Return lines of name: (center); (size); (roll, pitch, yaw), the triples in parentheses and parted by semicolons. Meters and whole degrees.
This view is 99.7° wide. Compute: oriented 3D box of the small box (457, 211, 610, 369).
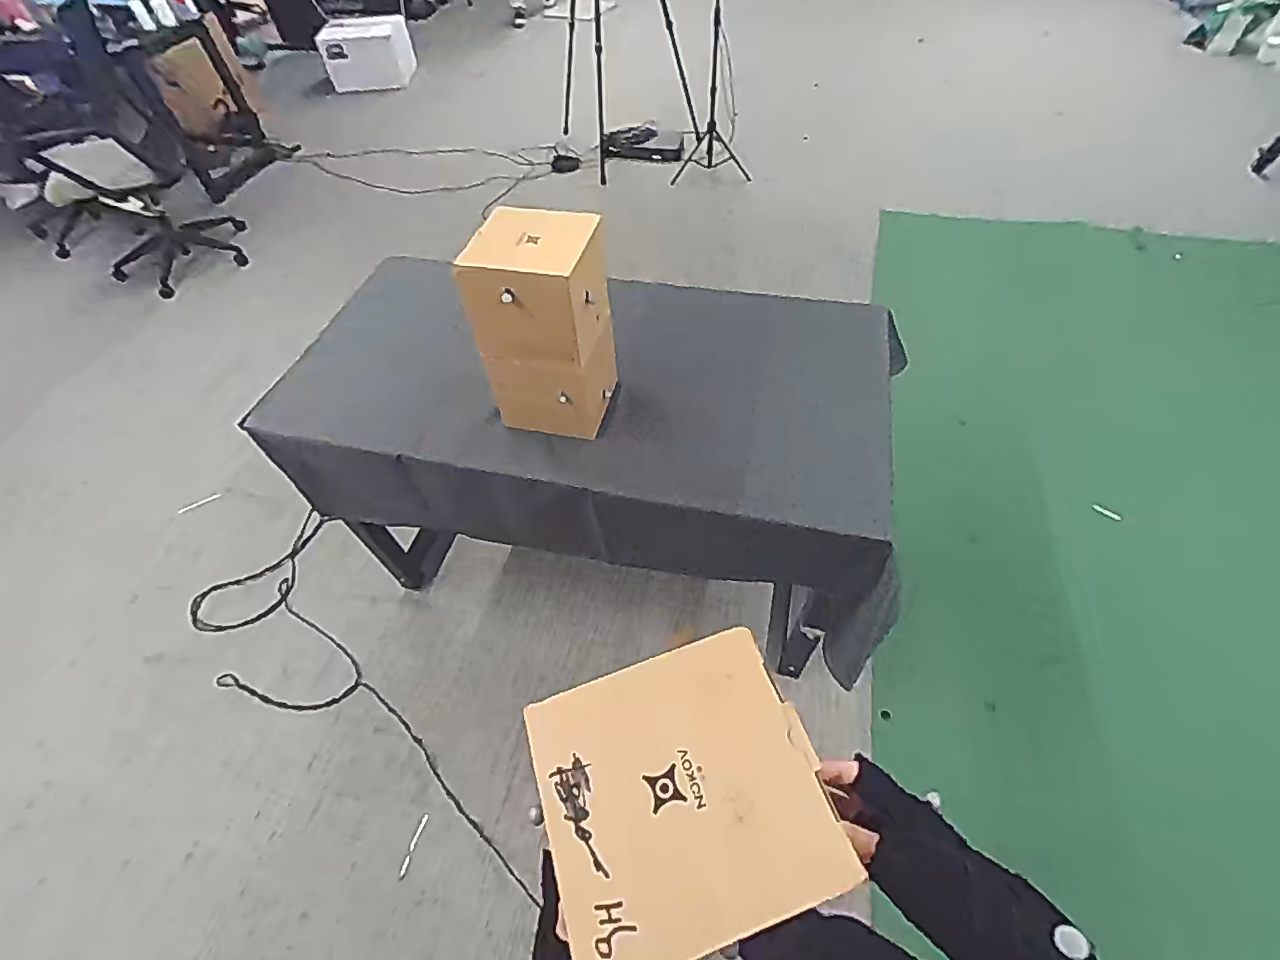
small box: (-0.153, -0.296, 0.854); (0.179, 0.176, 0.168); (9, 54, 10)

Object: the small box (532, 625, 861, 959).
small box: (0.031, 0.241, 0.417); (0.179, 0.176, 0.168); (-17, 53, -7)
